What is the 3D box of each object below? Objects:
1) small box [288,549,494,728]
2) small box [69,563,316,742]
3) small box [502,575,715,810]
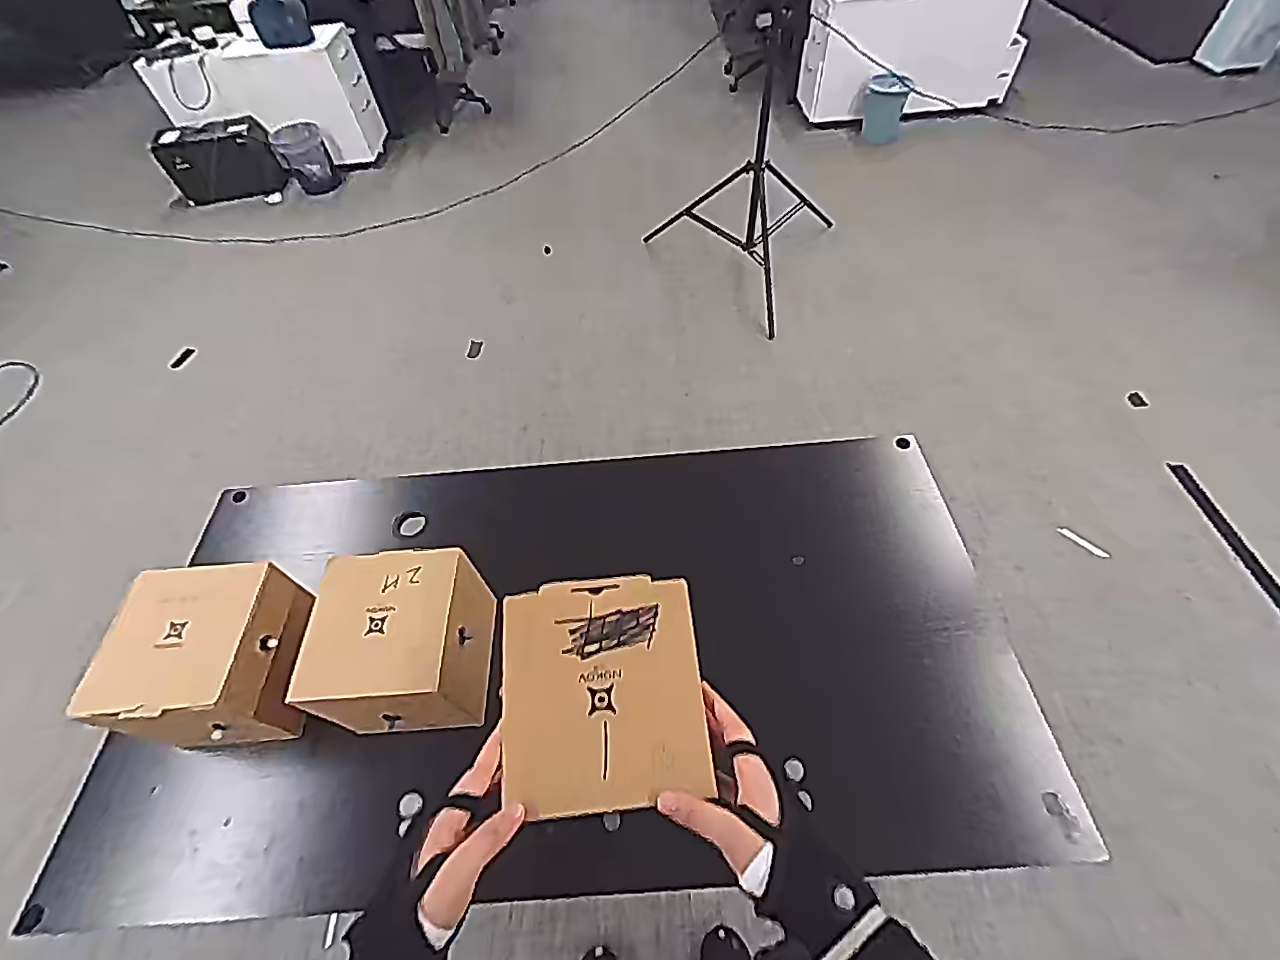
[{"bbox_3d":[-0.292,0.207,0.683,0.168,0.176,0.179,-4,54,1],"label":"small box"},{"bbox_3d":[-0.531,0.226,0.690,0.168,0.176,0.179,-5,53,0],"label":"small box"},{"bbox_3d":[-0.030,0.207,0.520,0.168,0.176,0.179,-5,61,-2],"label":"small box"}]
